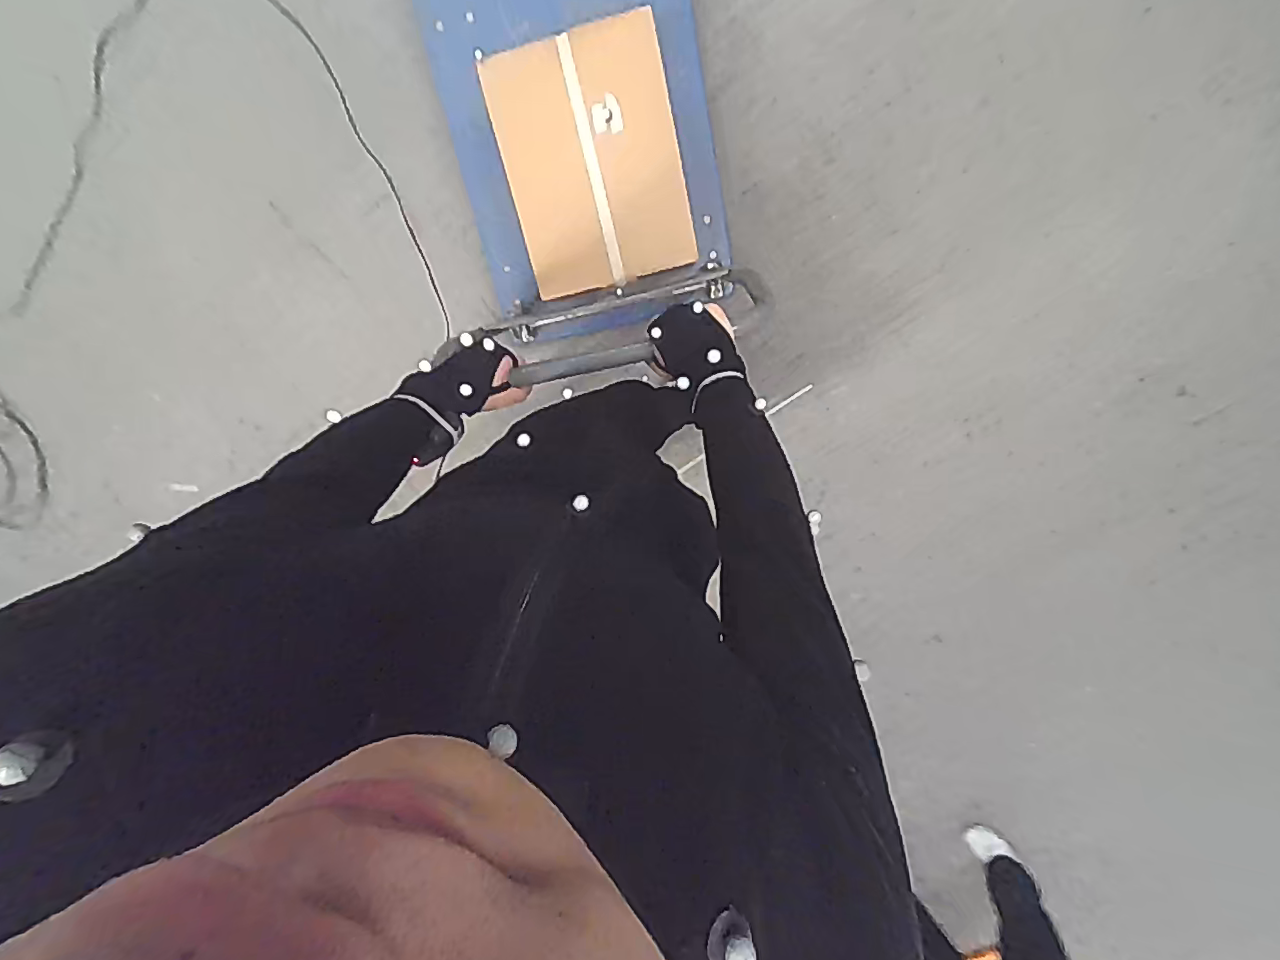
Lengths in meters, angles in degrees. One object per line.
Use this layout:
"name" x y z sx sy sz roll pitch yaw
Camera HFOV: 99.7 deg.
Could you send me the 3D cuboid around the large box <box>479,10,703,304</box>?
"large box" -0.072 -0.600 1.100 0.320 0.320 0.408 -13 107 6
